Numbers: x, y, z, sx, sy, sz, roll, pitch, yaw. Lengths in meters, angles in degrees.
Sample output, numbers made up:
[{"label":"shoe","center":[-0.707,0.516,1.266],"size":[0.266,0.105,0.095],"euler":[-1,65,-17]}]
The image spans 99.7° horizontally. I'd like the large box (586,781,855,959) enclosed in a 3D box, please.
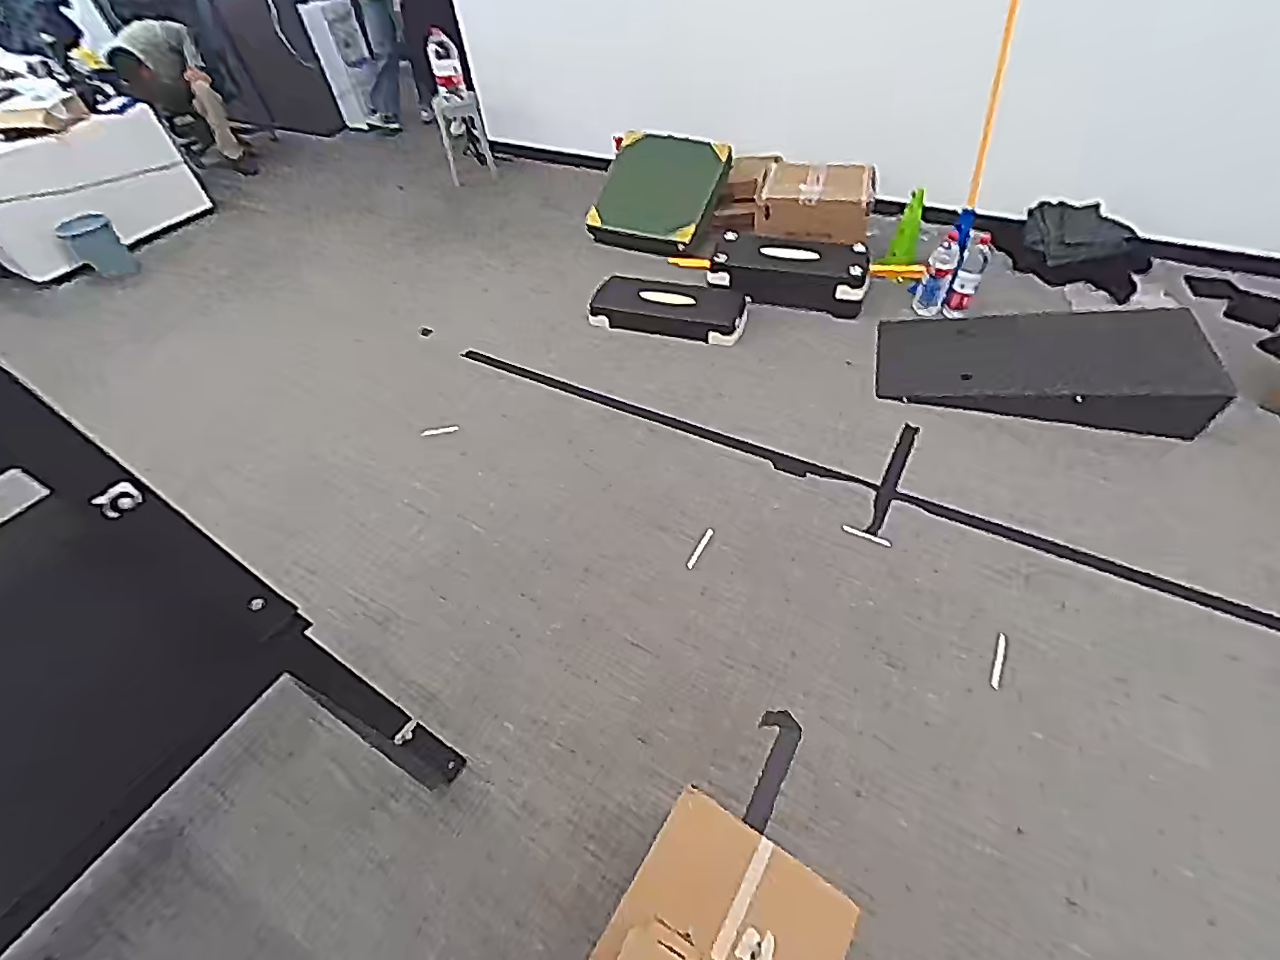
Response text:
[{"label":"large box","center":[0.107,0.813,0.899],"size":[0.320,0.320,0.408],"euler":[26,56,23]}]
